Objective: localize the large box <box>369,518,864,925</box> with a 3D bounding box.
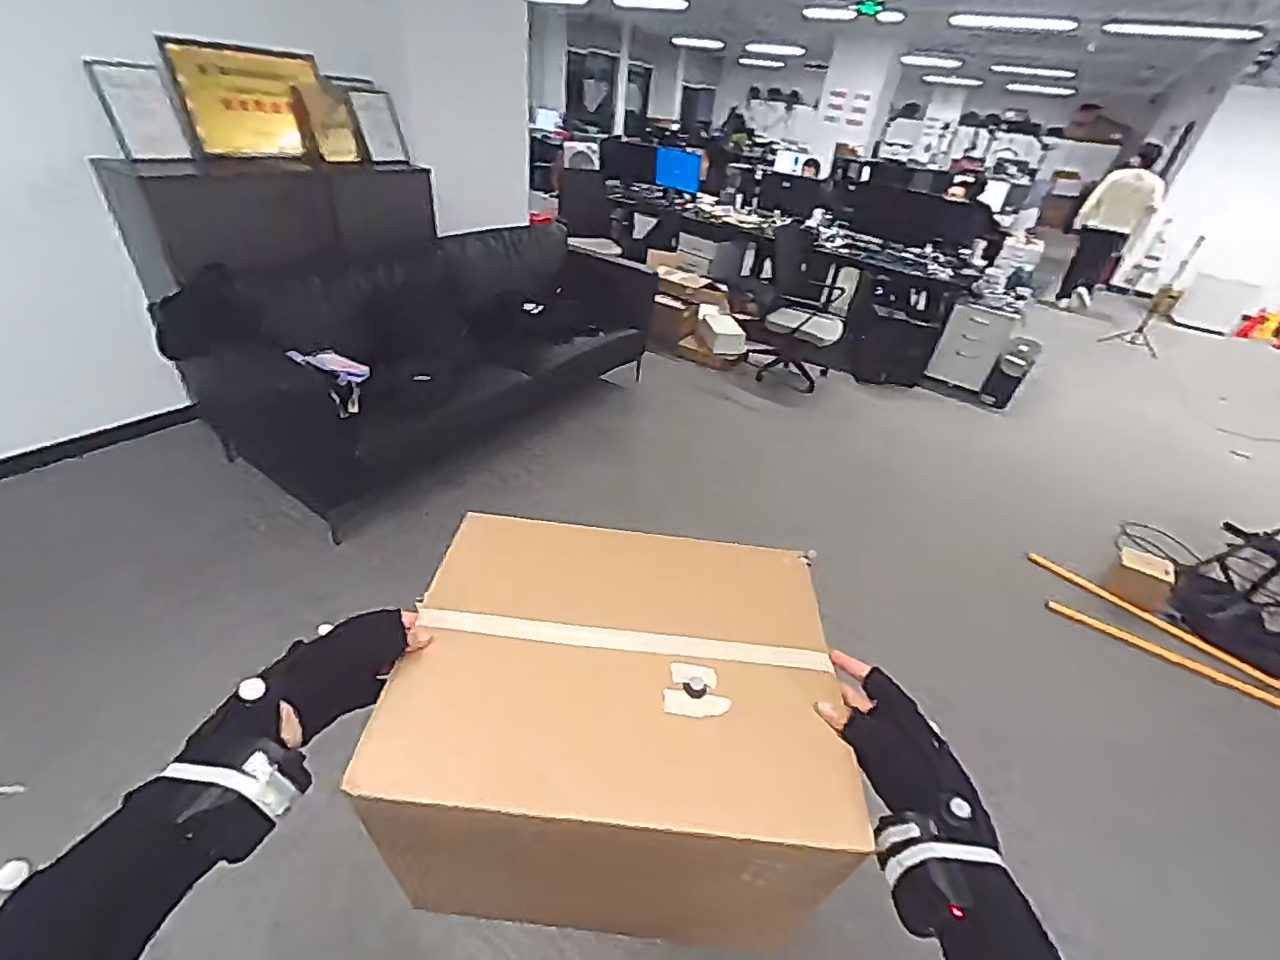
[{"bbox_3d":[-0.028,0.276,0.631,0.408,0.320,0.320,7,39,-2],"label":"large box"}]
